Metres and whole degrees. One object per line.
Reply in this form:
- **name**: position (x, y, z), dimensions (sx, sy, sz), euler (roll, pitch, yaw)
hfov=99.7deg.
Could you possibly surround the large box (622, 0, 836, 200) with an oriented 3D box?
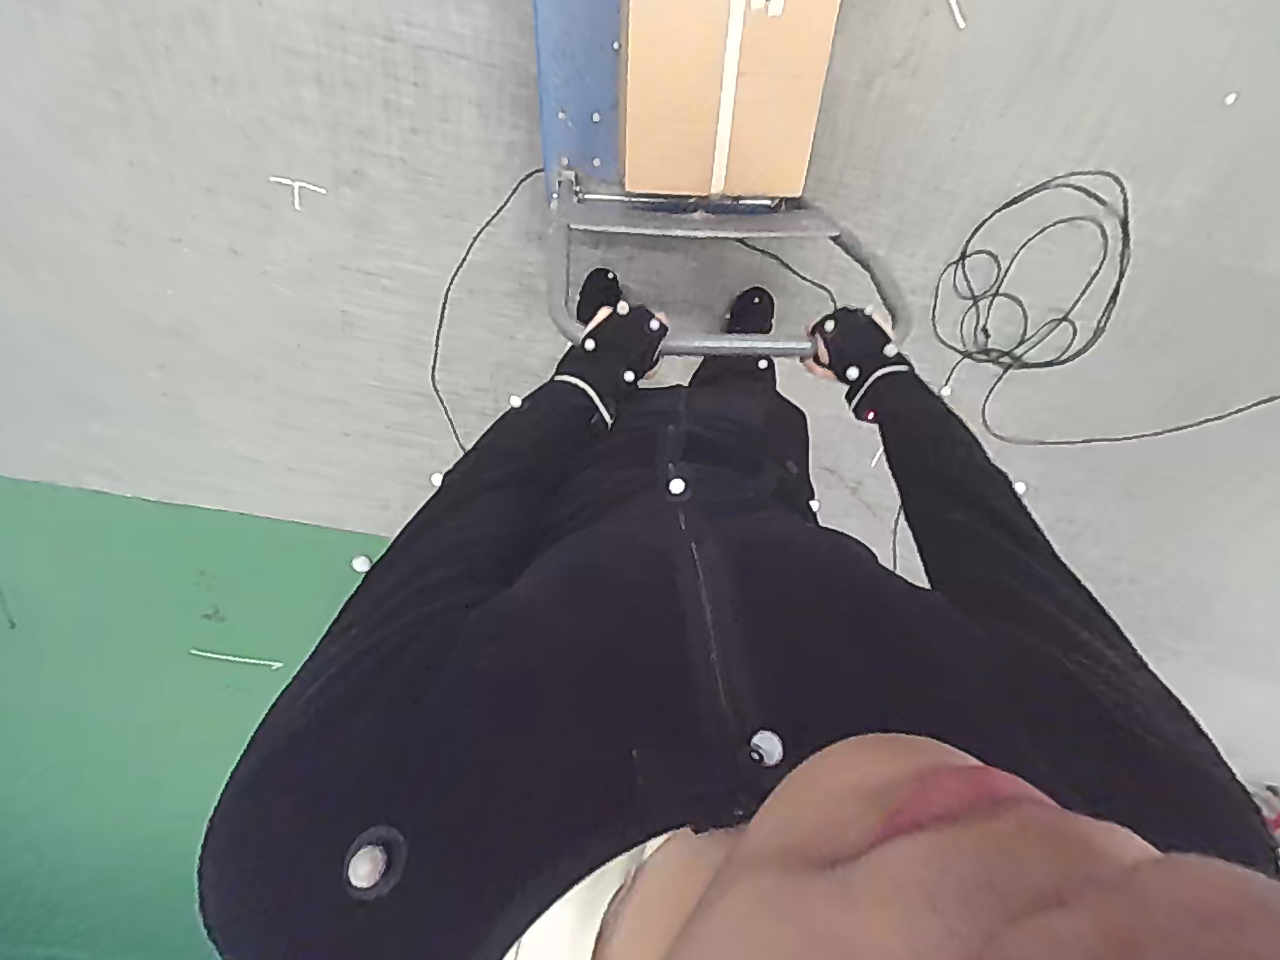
- **large box**: position (0.126, -0.736, 0.948), dimensions (0.320, 0.320, 0.408), euler (-1, 126, -5)
